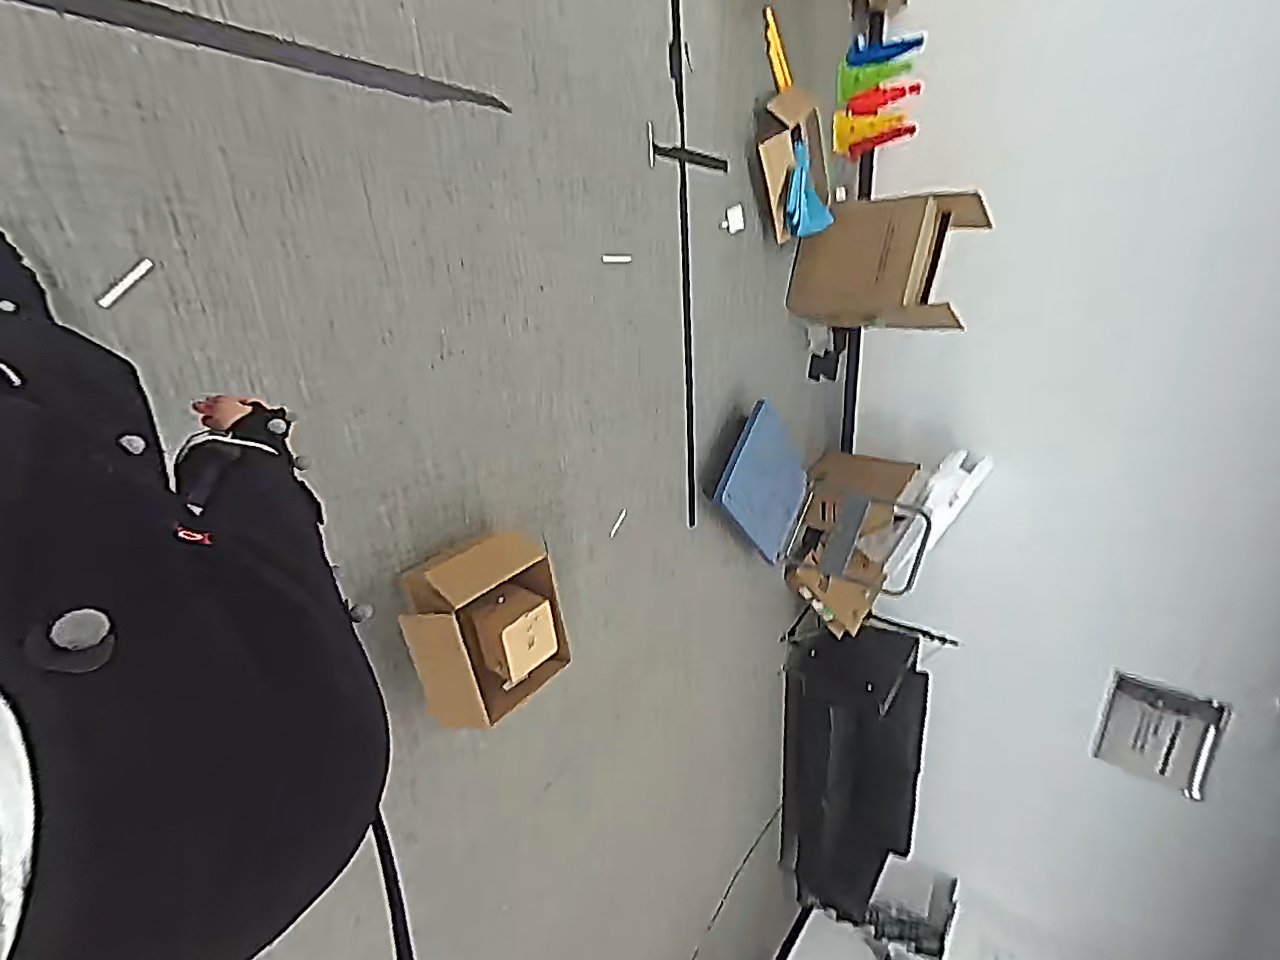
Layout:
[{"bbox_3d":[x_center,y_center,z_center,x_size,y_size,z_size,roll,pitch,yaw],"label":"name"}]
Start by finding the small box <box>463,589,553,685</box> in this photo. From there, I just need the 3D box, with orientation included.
[{"bbox_3d":[-0.373,0.437,1.531,0.168,0.176,0.179,-28,120,-44],"label":"small box"}]
